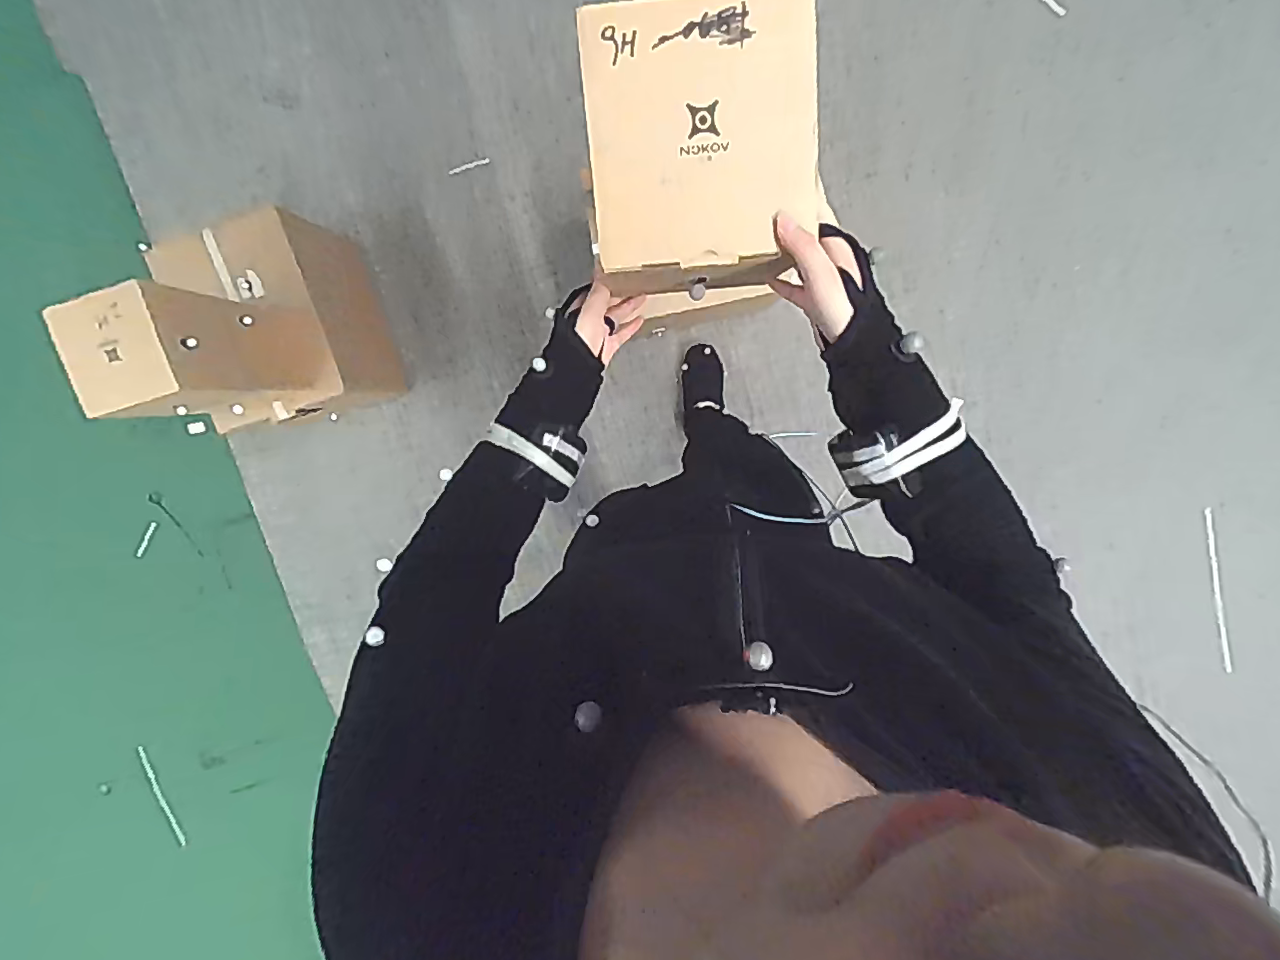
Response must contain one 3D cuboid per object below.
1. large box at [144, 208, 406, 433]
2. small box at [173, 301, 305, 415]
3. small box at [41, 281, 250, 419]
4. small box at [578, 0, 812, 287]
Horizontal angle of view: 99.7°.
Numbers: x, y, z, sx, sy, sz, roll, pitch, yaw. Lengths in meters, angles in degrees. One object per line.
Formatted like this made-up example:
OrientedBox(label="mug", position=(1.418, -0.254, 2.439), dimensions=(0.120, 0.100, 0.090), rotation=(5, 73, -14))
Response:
OrientedBox(label="large box", position=(-0.833, -0.352, 1.294), dimensions=(0.320, 0.320, 0.408), rotation=(-16, 97, 4))
OrientedBox(label="small box", position=(-0.806, -0.234, 1.065), dimensions=(0.168, 0.176, 0.179), rotation=(-14, 97, 4))
OrientedBox(label="small box", position=(-0.804, -0.209, 0.902), dimensions=(0.168, 0.176, 0.179), rotation=(-14, 98, 4))
OrientedBox(label="small box", position=(0.044, -0.270, 0.472), dimensions=(0.168, 0.176, 0.179), rotation=(-5, 103, 1))
